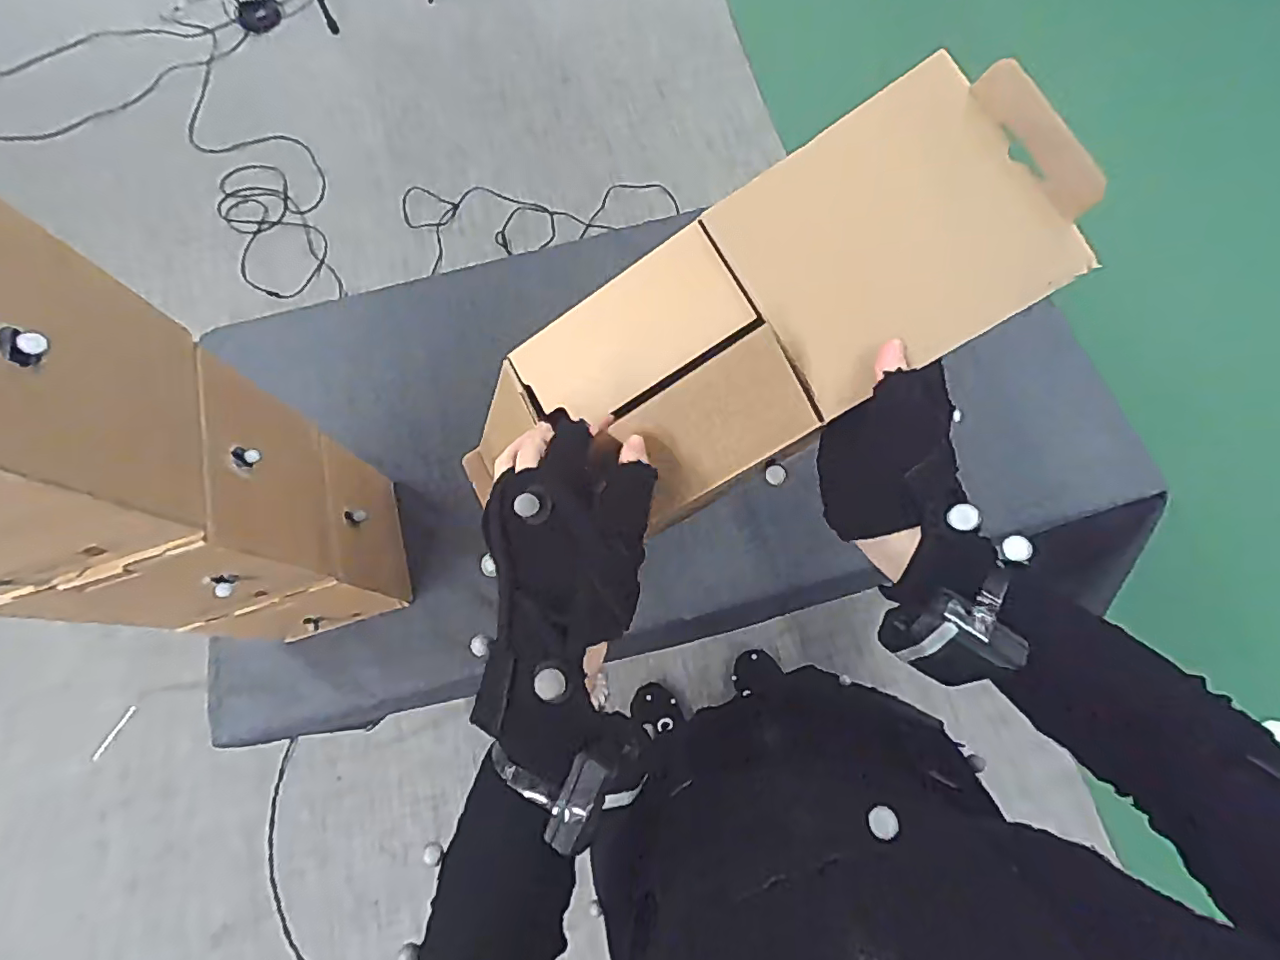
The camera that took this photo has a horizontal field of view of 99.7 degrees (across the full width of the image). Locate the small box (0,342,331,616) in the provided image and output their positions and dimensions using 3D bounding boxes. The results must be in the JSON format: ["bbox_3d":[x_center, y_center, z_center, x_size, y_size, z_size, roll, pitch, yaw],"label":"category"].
[{"bbox_3d":[-0.401,0.014,0.477,0.168,0.176,0.179,-17,71,-4],"label":"small box"}]

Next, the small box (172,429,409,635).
[{"bbox_3d":[-0.394,0.069,0.630,0.168,0.176,0.179,-17,71,-3],"label":"small box"}]

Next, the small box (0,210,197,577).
[{"bbox_3d":[-0.412,-0.046,0.325,0.168,0.176,0.179,-18,71,-5],"label":"small box"}]
